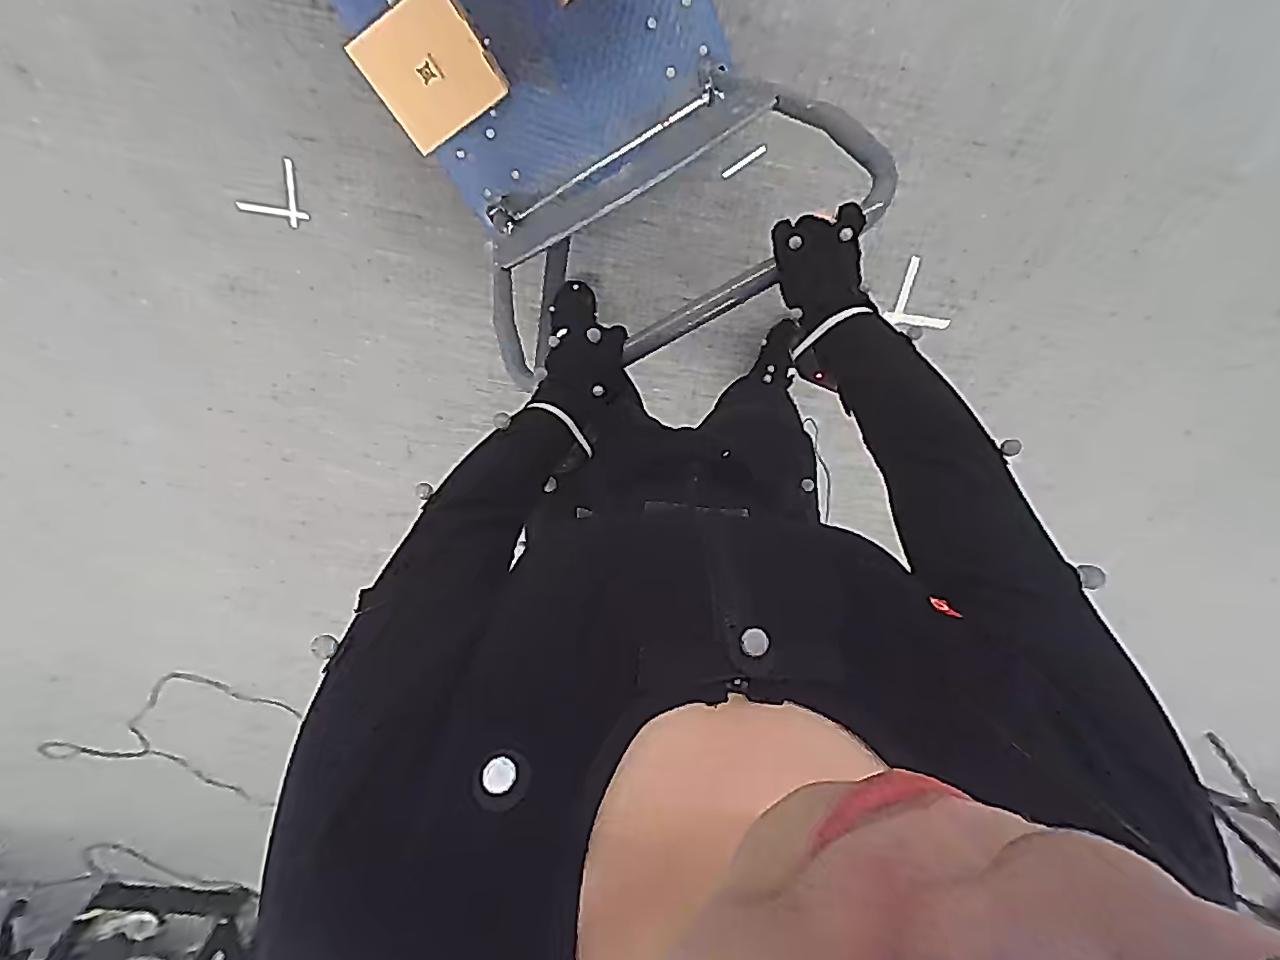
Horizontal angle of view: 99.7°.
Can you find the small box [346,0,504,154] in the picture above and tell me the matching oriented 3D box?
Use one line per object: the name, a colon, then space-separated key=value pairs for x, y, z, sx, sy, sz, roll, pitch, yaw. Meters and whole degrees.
small box: x=-0.341 y=-0.680 z=0.898 sx=0.179 sy=0.176 sz=0.168 roll=-30 pitch=128 yaw=11
